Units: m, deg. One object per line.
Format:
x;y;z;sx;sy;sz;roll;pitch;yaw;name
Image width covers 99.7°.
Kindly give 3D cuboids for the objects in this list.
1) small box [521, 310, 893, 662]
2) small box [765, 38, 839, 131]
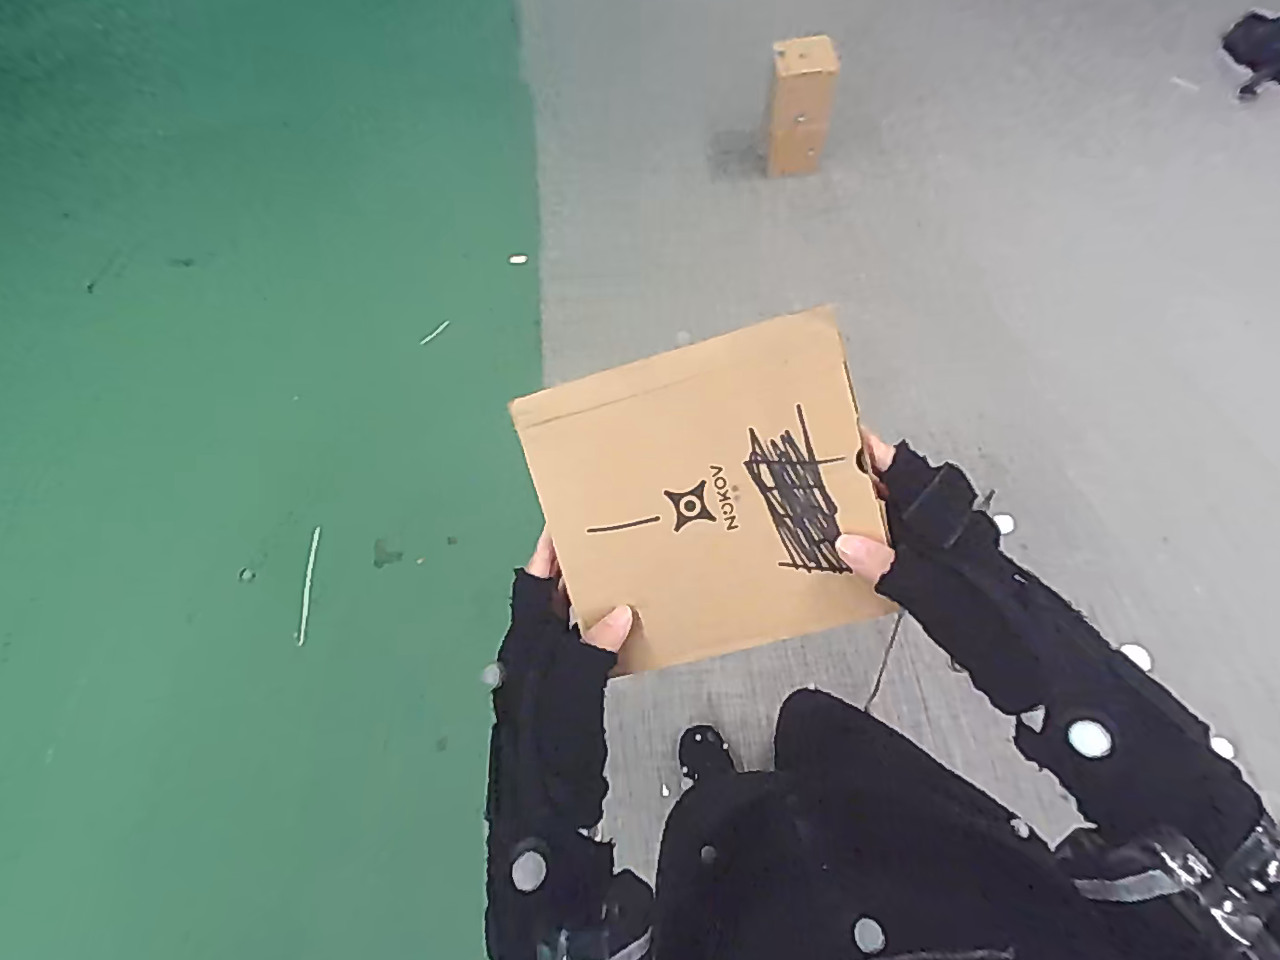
0.042;-0.001;0.369;0.179;0.176;0.168;-12;94;7;small box
0.494;-1.213;1.667;0.179;0.176;0.168;-4;67;3;small box
